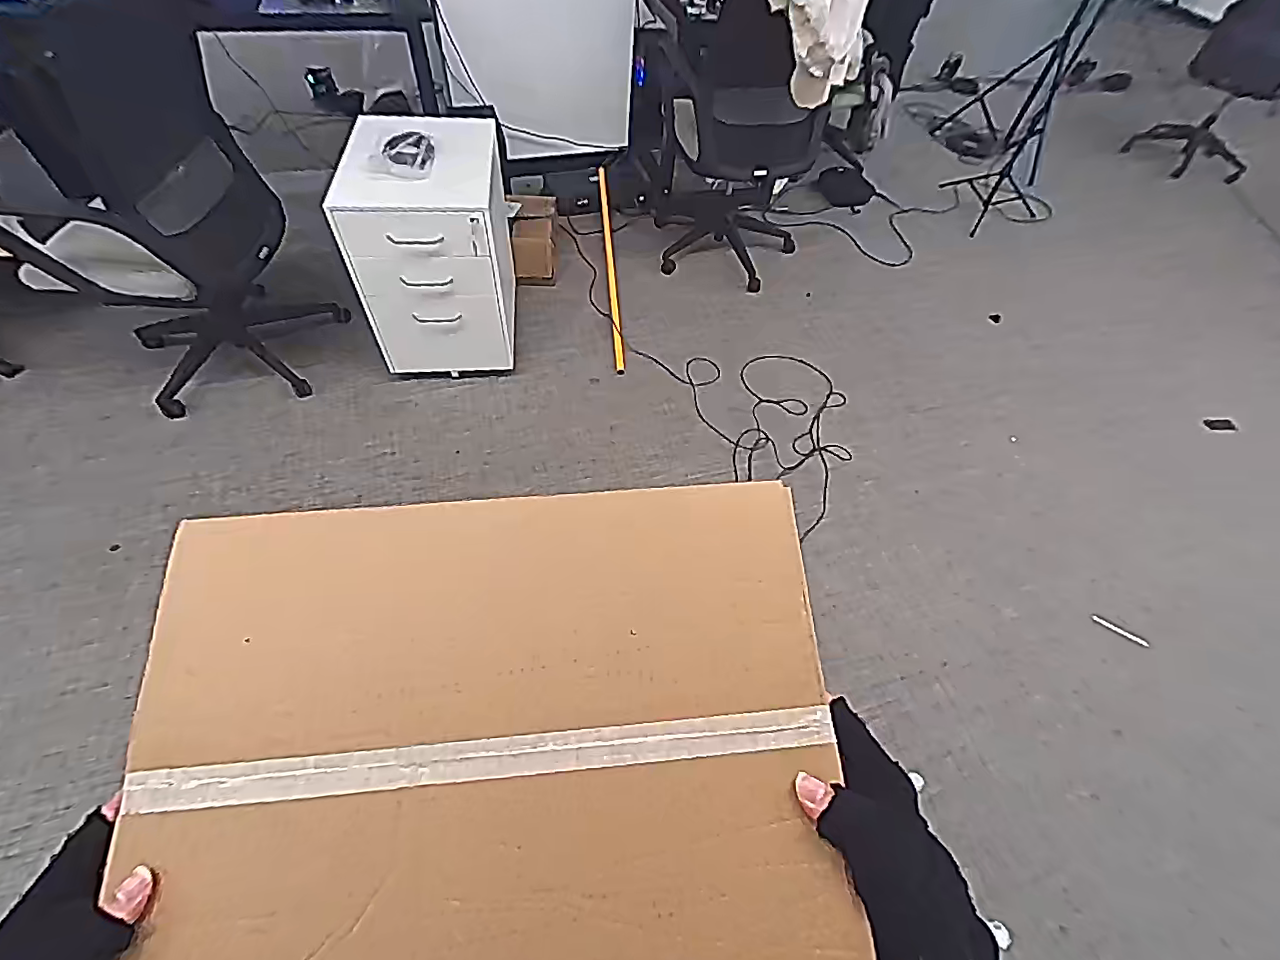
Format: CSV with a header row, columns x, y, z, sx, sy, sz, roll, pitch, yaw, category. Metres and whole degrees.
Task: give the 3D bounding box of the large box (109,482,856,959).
x,y,z,sx,sy,sz,roll,pitch,yaw,category
-0.092,0.206,0.466,0.408,0.320,0.320,-3,70,-3,large box
